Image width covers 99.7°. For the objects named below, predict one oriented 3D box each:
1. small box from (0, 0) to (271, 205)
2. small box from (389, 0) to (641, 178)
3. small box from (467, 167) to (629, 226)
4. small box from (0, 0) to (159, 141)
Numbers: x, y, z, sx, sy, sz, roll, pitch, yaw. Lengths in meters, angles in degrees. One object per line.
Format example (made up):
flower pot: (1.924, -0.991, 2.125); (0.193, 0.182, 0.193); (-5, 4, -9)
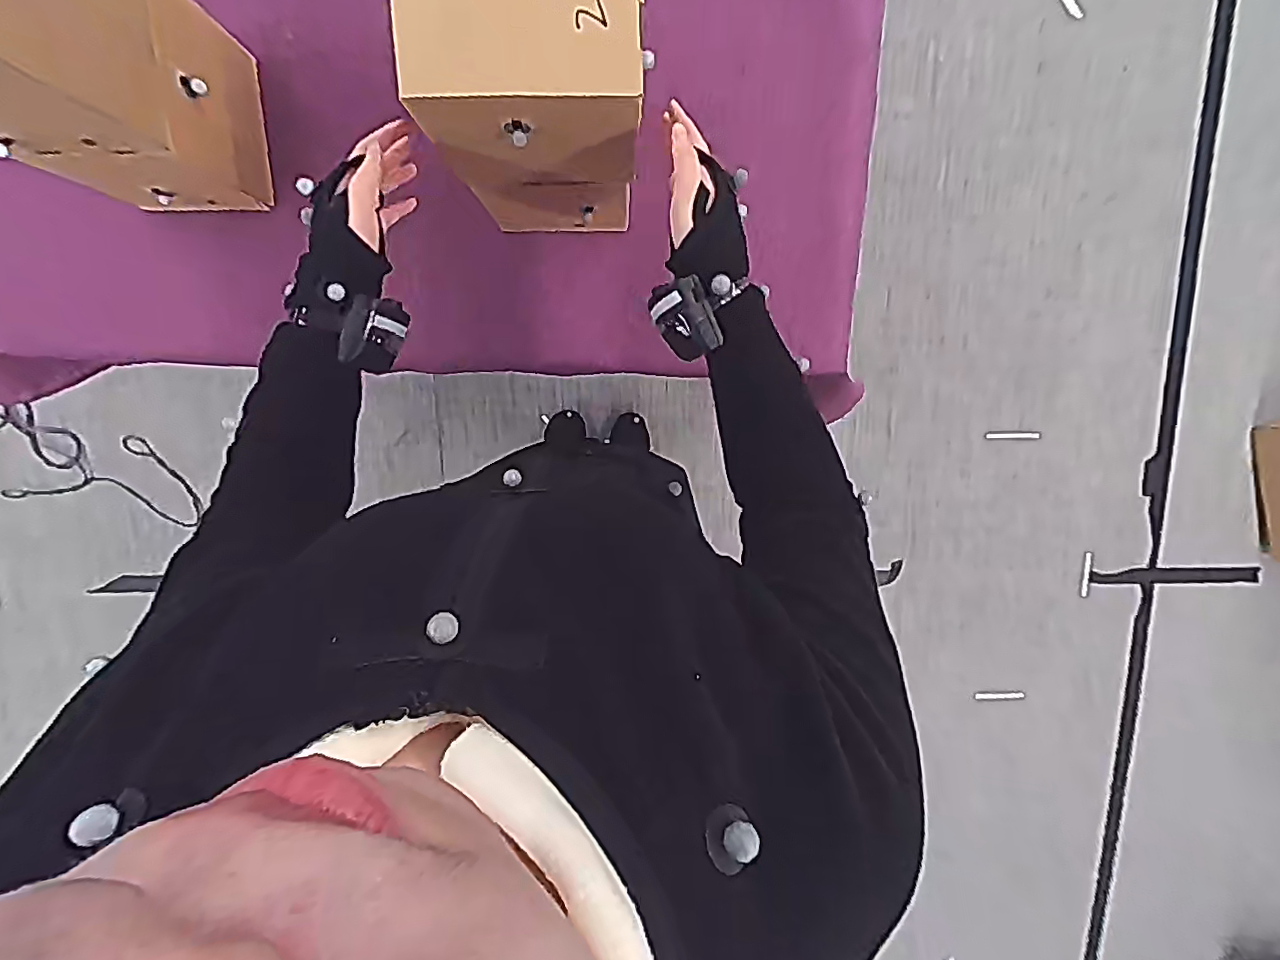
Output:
small box: (-0.543, -0.421, 0.590); (0.168, 0.176, 0.179); (-1, 101, -2)
small box: (-0.089, -0.367, 0.448); (0.179, 0.176, 0.168); (-2, 101, -3)
small box: (-0.095, -0.399, 0.609); (0.168, 0.176, 0.179); (0, 100, -2)
small box: (-0.538, -0.393, 0.428); (0.168, 0.176, 0.179); (-3, 100, -2)
